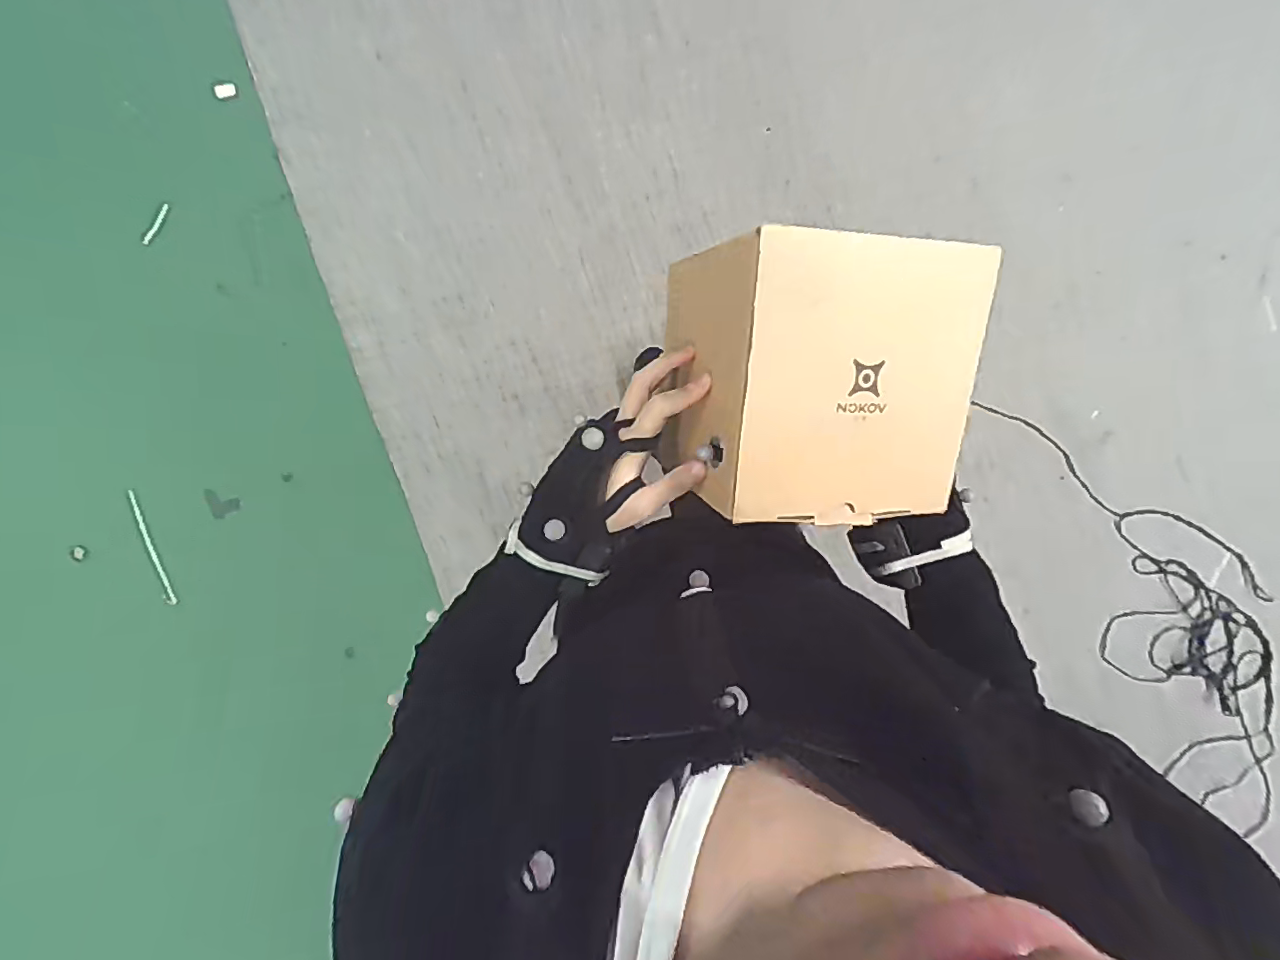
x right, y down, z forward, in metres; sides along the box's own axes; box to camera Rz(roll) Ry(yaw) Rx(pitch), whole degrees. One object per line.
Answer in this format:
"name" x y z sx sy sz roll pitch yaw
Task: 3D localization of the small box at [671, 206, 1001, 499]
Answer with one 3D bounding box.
"small box" 0.128 -0.093 0.420 0.168 0.176 0.179 -1 106 -15
